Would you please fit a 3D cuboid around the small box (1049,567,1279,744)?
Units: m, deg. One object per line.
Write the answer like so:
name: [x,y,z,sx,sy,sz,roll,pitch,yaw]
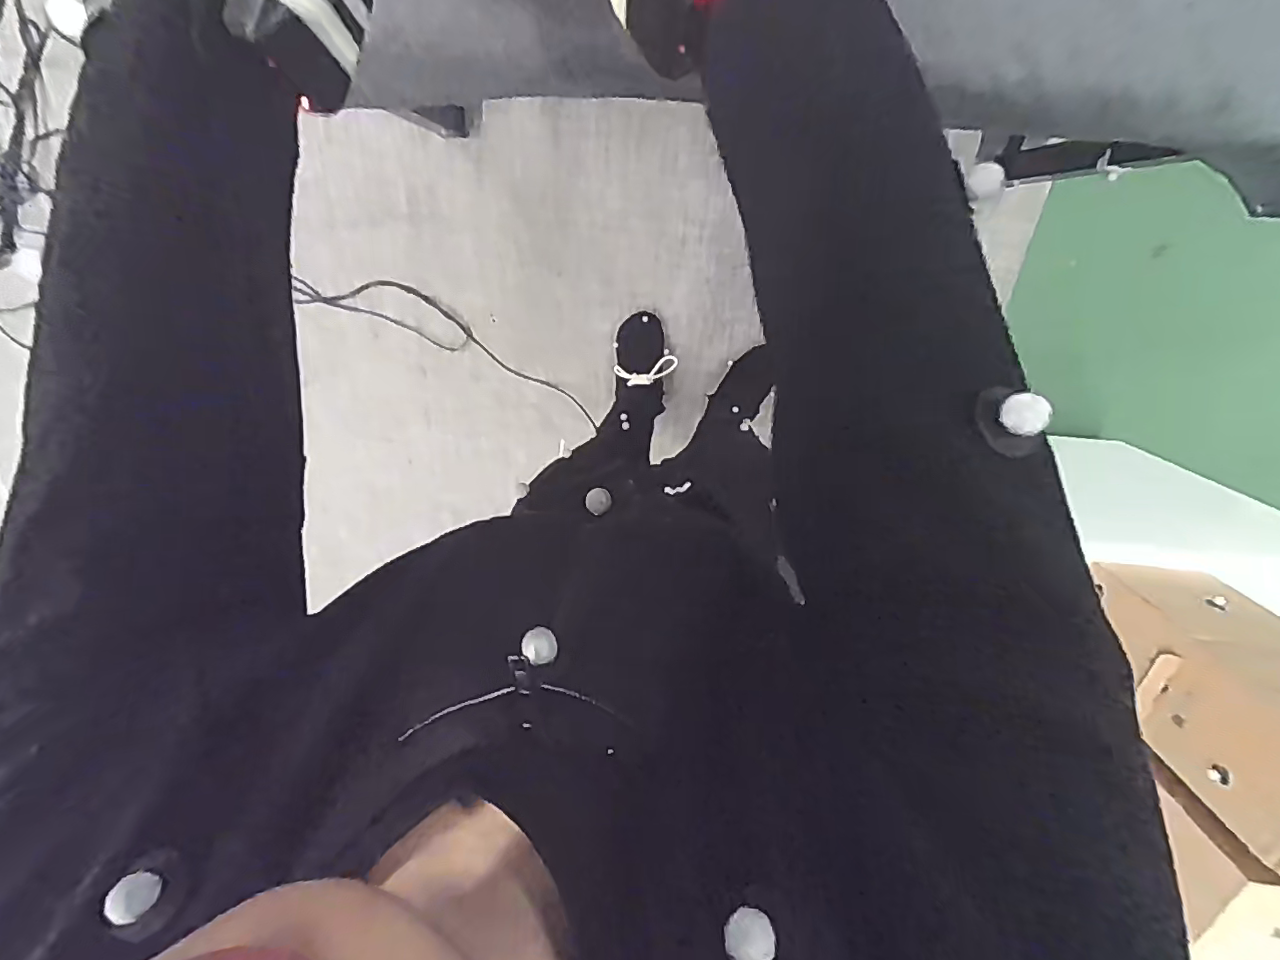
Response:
small box: [0.732,0.237,0.757,0.179,0.176,0.168,4,115,-2]
